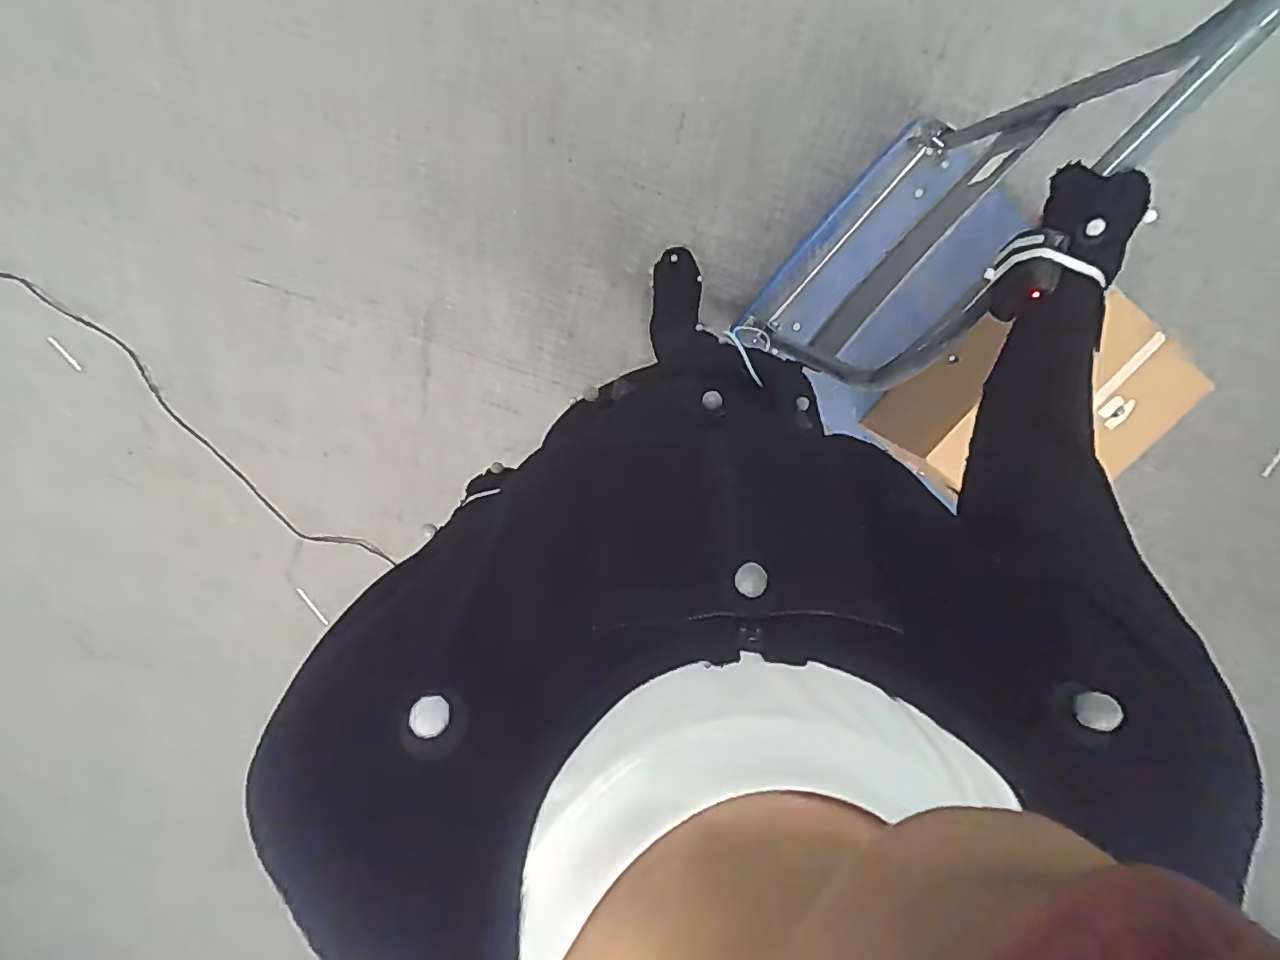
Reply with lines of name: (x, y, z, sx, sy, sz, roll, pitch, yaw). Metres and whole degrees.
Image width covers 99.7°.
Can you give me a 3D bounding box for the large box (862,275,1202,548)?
large box: (0.751, -0.146, 1.110, 0.320, 0.320, 0.408, 35, 104, -12)
